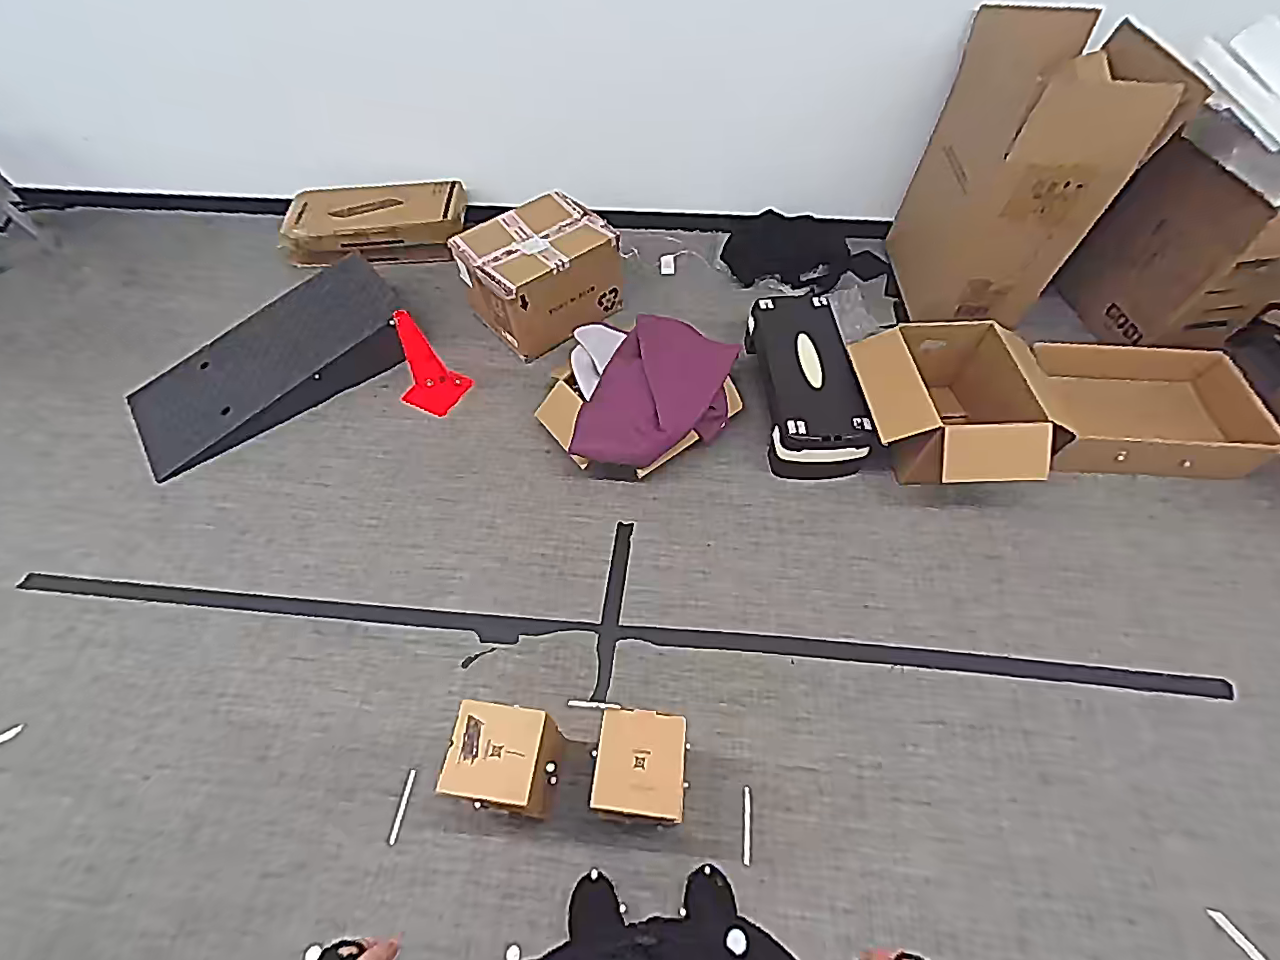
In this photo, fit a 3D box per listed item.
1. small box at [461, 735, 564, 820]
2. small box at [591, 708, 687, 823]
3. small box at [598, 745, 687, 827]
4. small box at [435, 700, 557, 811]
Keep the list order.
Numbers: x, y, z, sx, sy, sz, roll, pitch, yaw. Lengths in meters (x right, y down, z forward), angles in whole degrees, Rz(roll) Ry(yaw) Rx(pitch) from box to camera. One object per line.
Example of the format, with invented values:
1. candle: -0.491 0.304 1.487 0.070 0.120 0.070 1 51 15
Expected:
1. small box: -0.277 0.656 1.224 0.168 0.176 0.179 6 58 6
2. small box: 0.002 0.572 1.079 0.168 0.176 0.179 5 58 5
3. small box: 0.008 0.671 1.209 0.179 0.176 0.168 4 57 3
4. small box: -0.278 0.559 1.090 0.179 0.176 0.168 6 57 5
